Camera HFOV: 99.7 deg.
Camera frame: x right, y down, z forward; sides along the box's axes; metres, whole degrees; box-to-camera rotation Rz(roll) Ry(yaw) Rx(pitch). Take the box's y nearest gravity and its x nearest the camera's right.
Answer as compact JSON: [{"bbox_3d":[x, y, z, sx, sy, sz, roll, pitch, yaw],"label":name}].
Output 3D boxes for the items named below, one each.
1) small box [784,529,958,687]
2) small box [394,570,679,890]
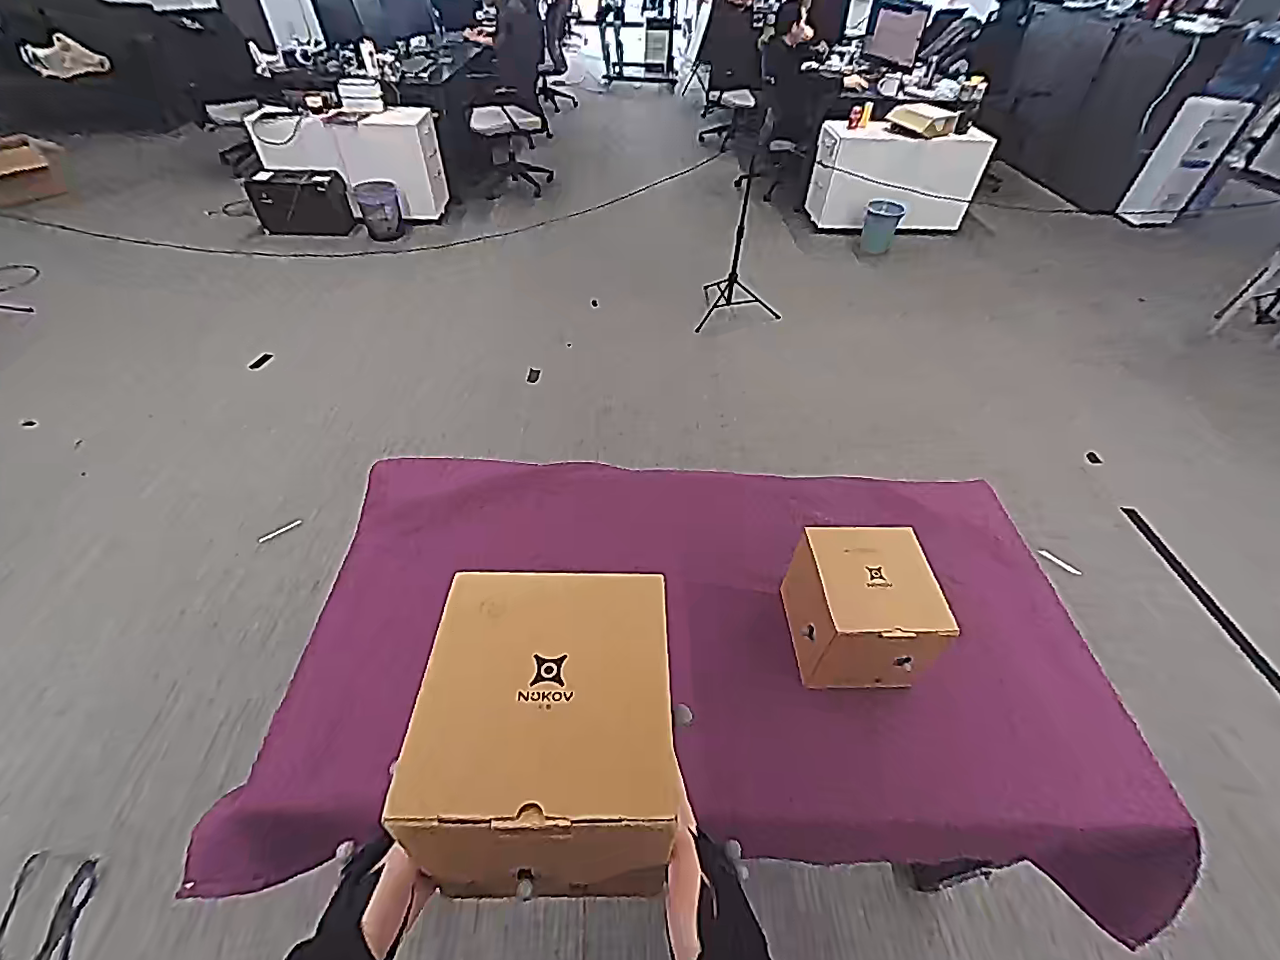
[{"bbox_3d":[0.324,0.192,0.801,0.168,0.176,0.179,1,46,-2],"label":"small box"},{"bbox_3d":[-0.063,0.191,0.420,0.168,0.176,0.179,1,43,-2],"label":"small box"}]
